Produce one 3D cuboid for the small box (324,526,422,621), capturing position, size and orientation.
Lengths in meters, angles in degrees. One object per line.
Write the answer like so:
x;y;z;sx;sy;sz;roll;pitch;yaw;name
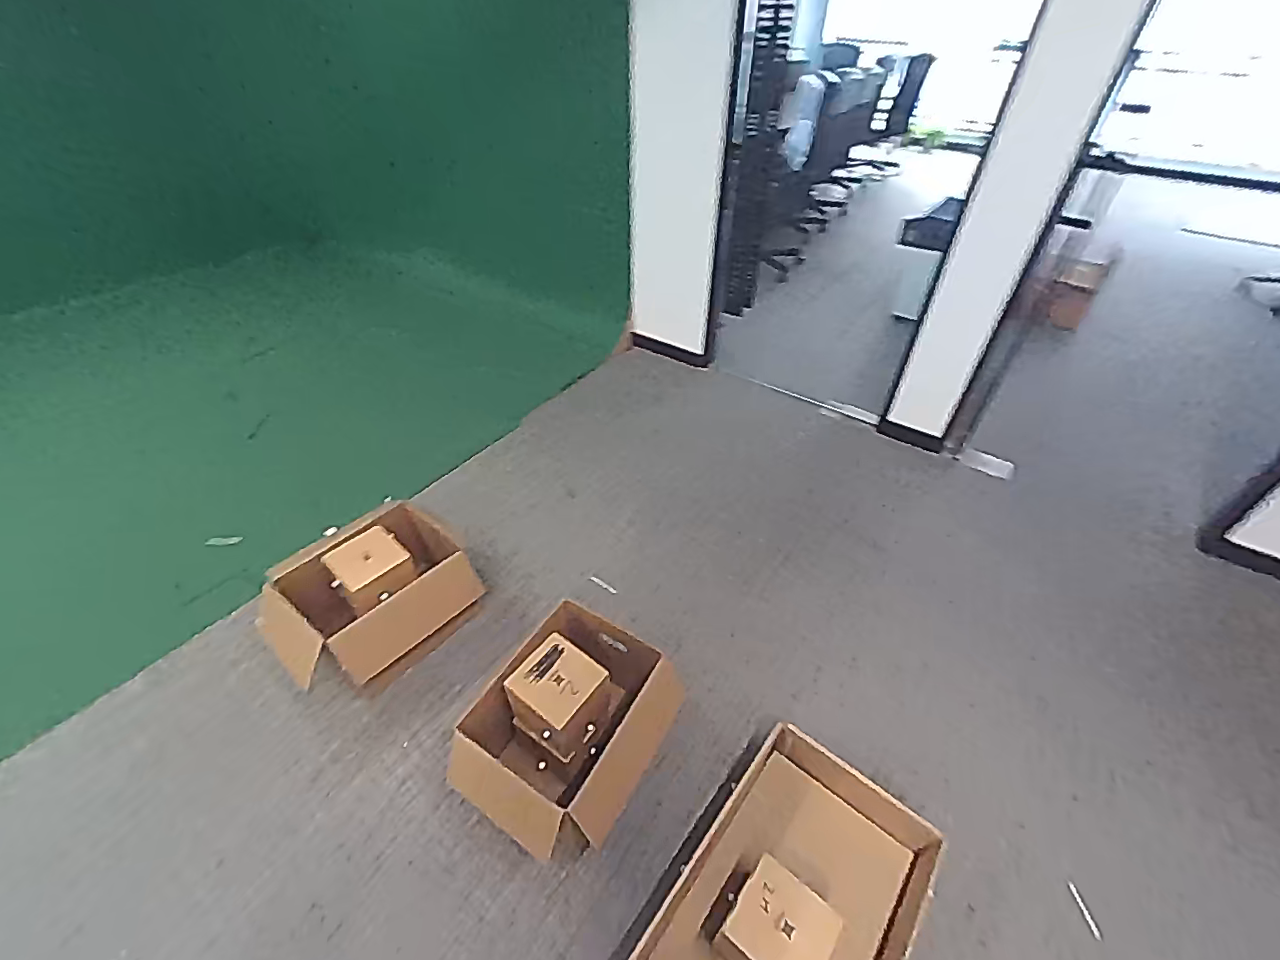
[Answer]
-0.749;0.271;1.531;0.179;0.176;0.168;31;49;28;small box
